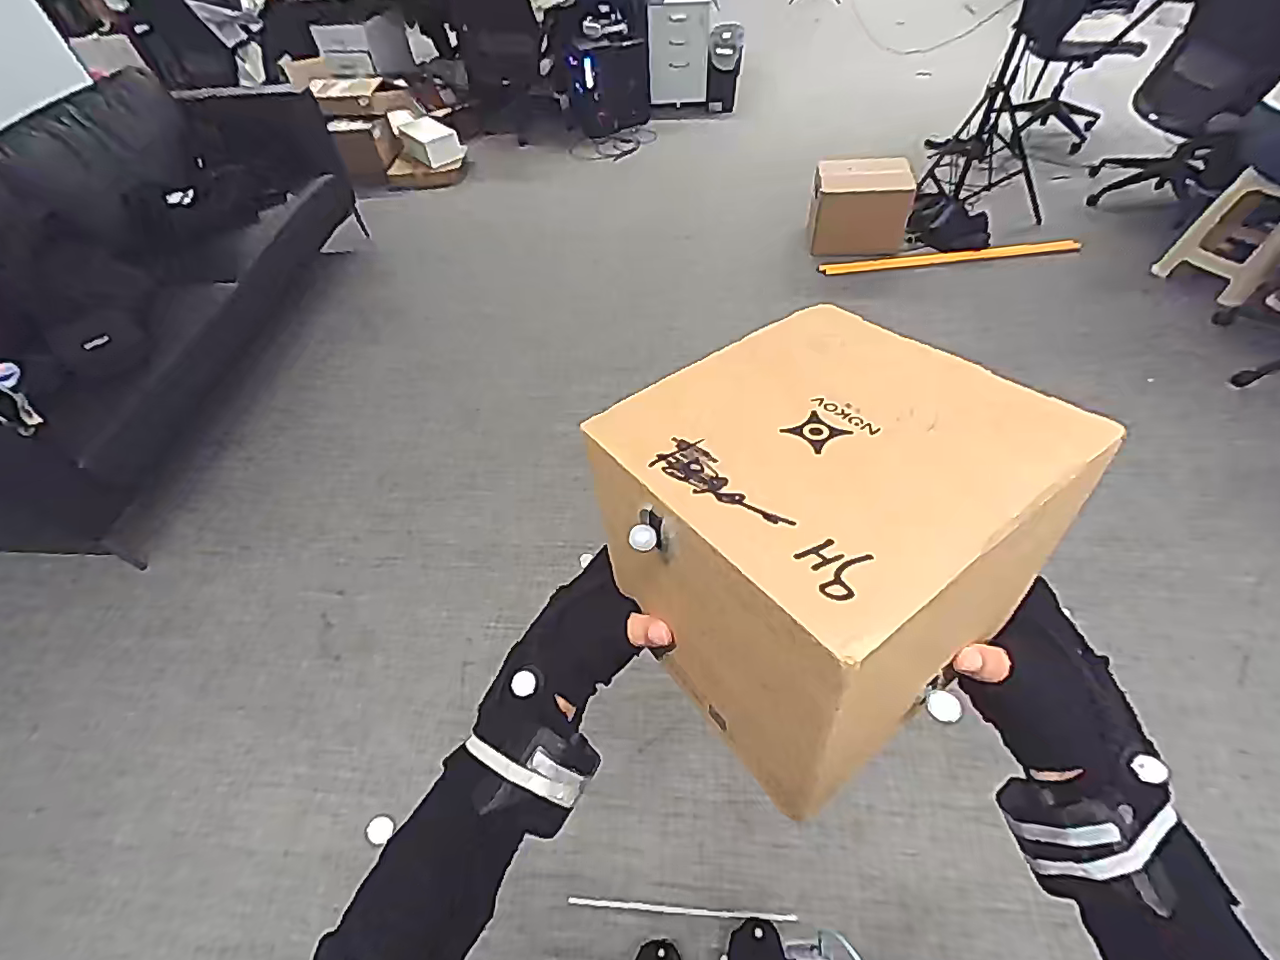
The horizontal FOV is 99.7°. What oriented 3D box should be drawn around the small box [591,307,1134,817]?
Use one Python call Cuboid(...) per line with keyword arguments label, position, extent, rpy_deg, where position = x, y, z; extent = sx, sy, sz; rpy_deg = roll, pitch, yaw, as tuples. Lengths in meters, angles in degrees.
Cuboid(label="small box", position=(0.096, 0.035, 0.295), extent=(0.179, 0.176, 0.168), rpy_deg=(-28, 46, -22))
